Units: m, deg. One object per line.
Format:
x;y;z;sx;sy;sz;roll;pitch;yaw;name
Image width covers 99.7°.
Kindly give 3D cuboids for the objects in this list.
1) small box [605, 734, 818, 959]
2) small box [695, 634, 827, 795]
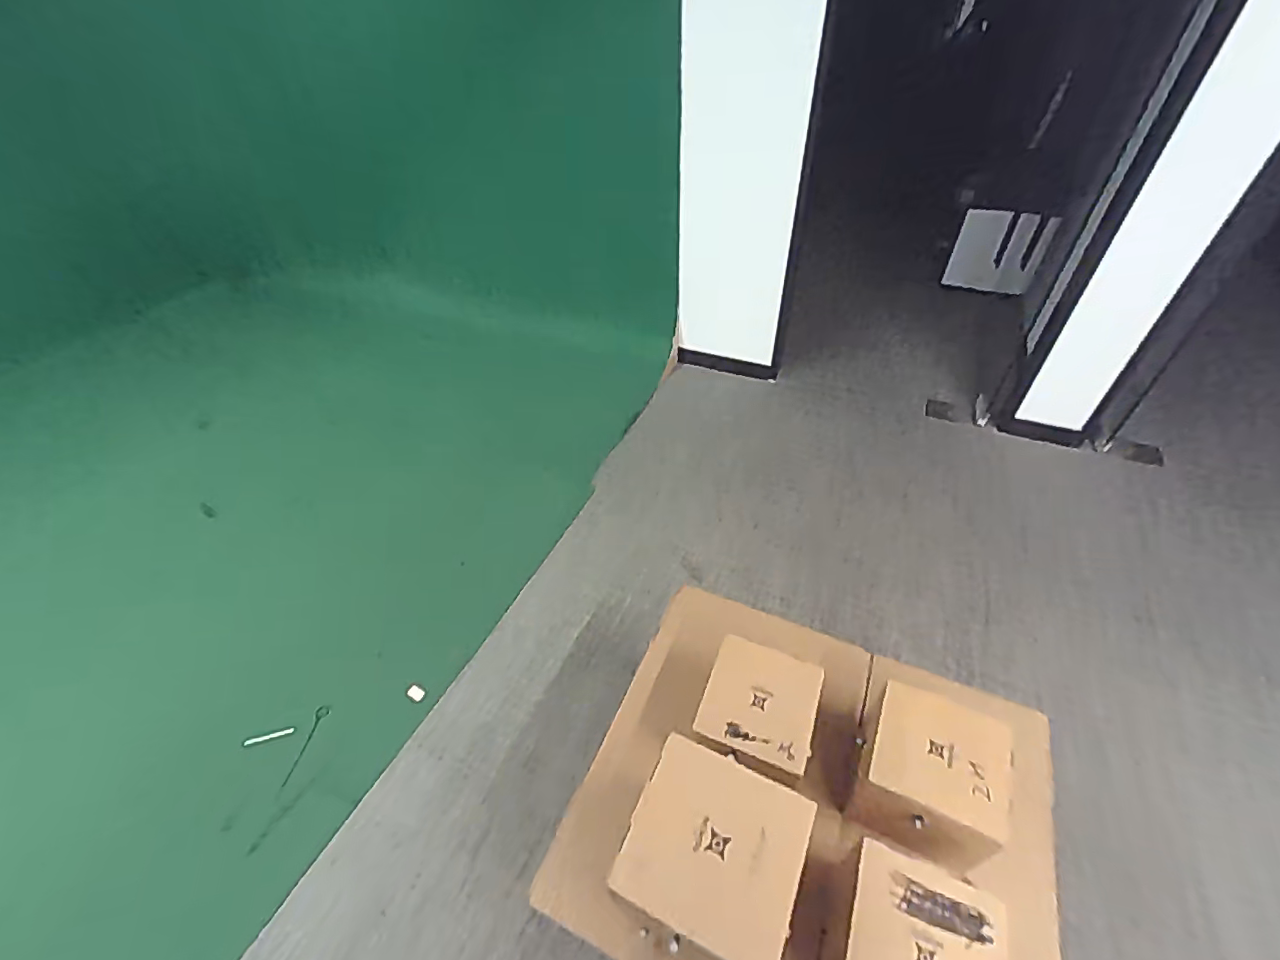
0.081;0.431;0.612;0.179;0.176;0.168;18;50;21;small box
0.191;0.390;0.877;0.168;0.176;0.179;14;46;20;small box
